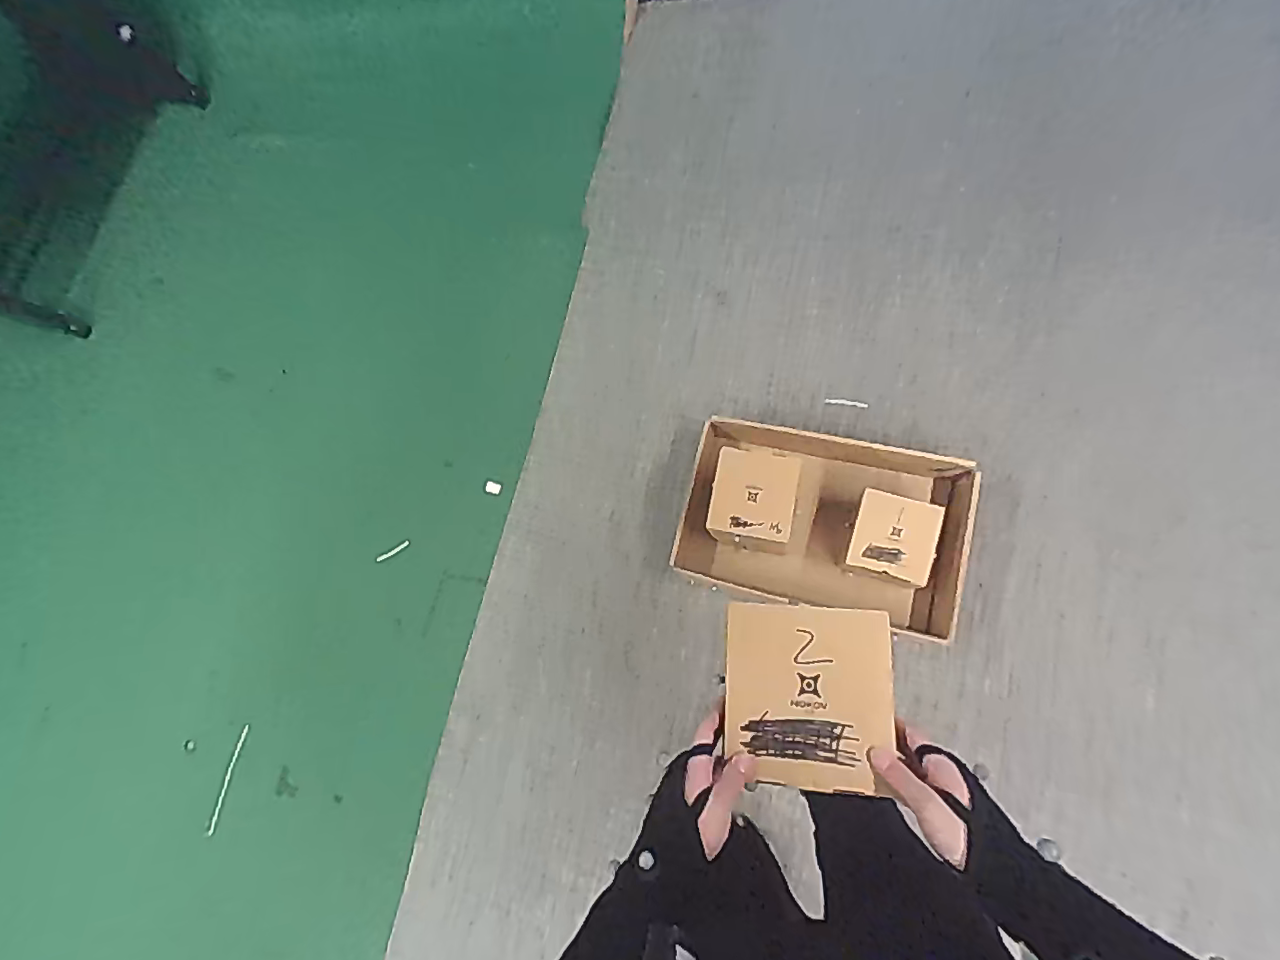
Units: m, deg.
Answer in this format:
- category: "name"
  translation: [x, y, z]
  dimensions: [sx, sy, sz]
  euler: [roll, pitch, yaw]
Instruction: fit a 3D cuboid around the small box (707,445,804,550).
- category: "small box"
  translation: [0.246, 0.042, 1.152]
  dimensions: [0.168, 0.176, 0.179]
  euler: [10, 79, 15]
